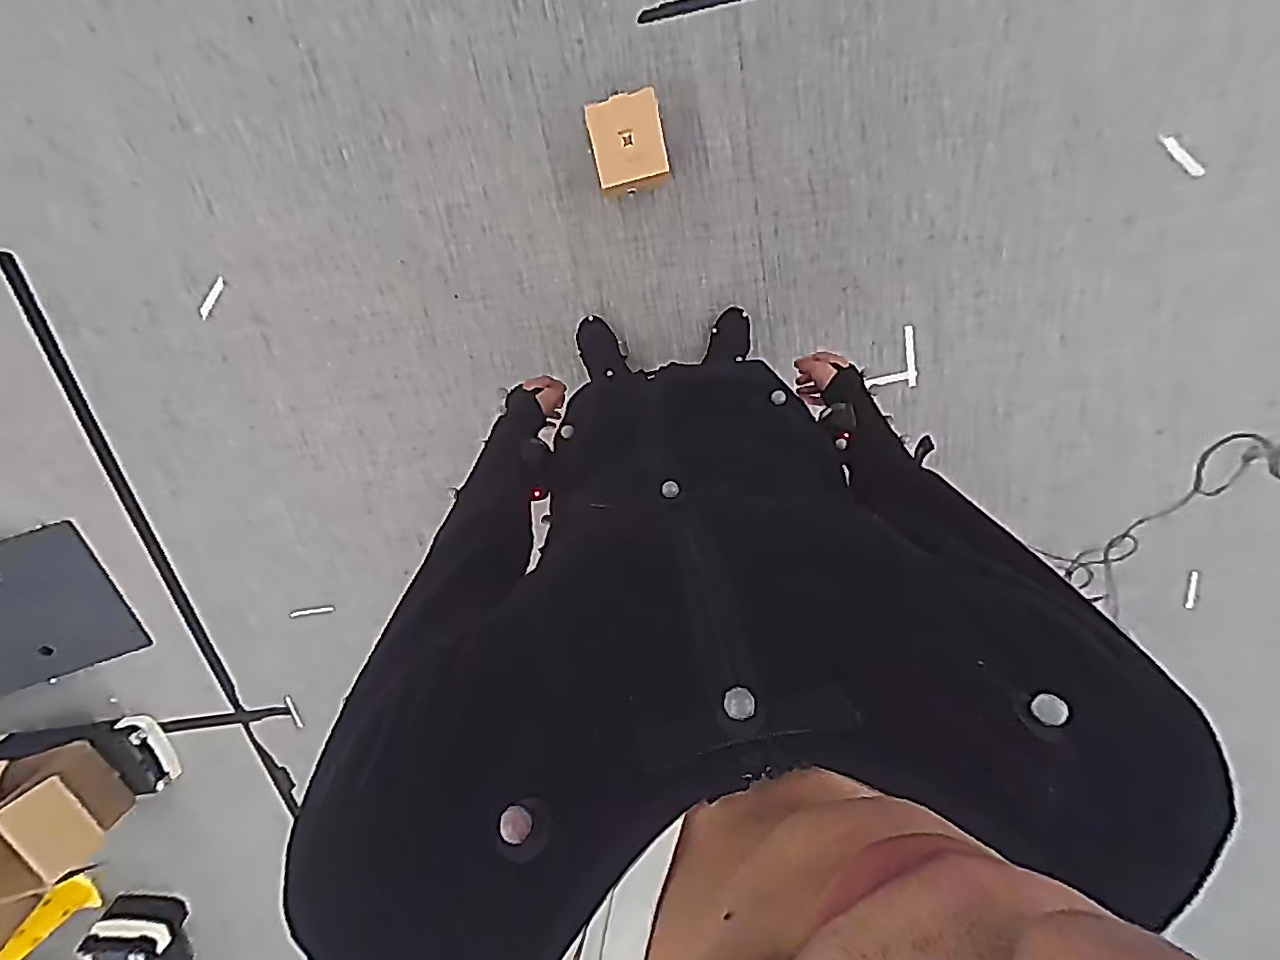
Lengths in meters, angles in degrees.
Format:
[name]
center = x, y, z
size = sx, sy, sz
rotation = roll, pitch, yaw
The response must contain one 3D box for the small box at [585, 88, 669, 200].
[small box]
center = -0.028, -0.807, 1.316
size = 0.168, 0.176, 0.179
rotation = -12, 109, 5
